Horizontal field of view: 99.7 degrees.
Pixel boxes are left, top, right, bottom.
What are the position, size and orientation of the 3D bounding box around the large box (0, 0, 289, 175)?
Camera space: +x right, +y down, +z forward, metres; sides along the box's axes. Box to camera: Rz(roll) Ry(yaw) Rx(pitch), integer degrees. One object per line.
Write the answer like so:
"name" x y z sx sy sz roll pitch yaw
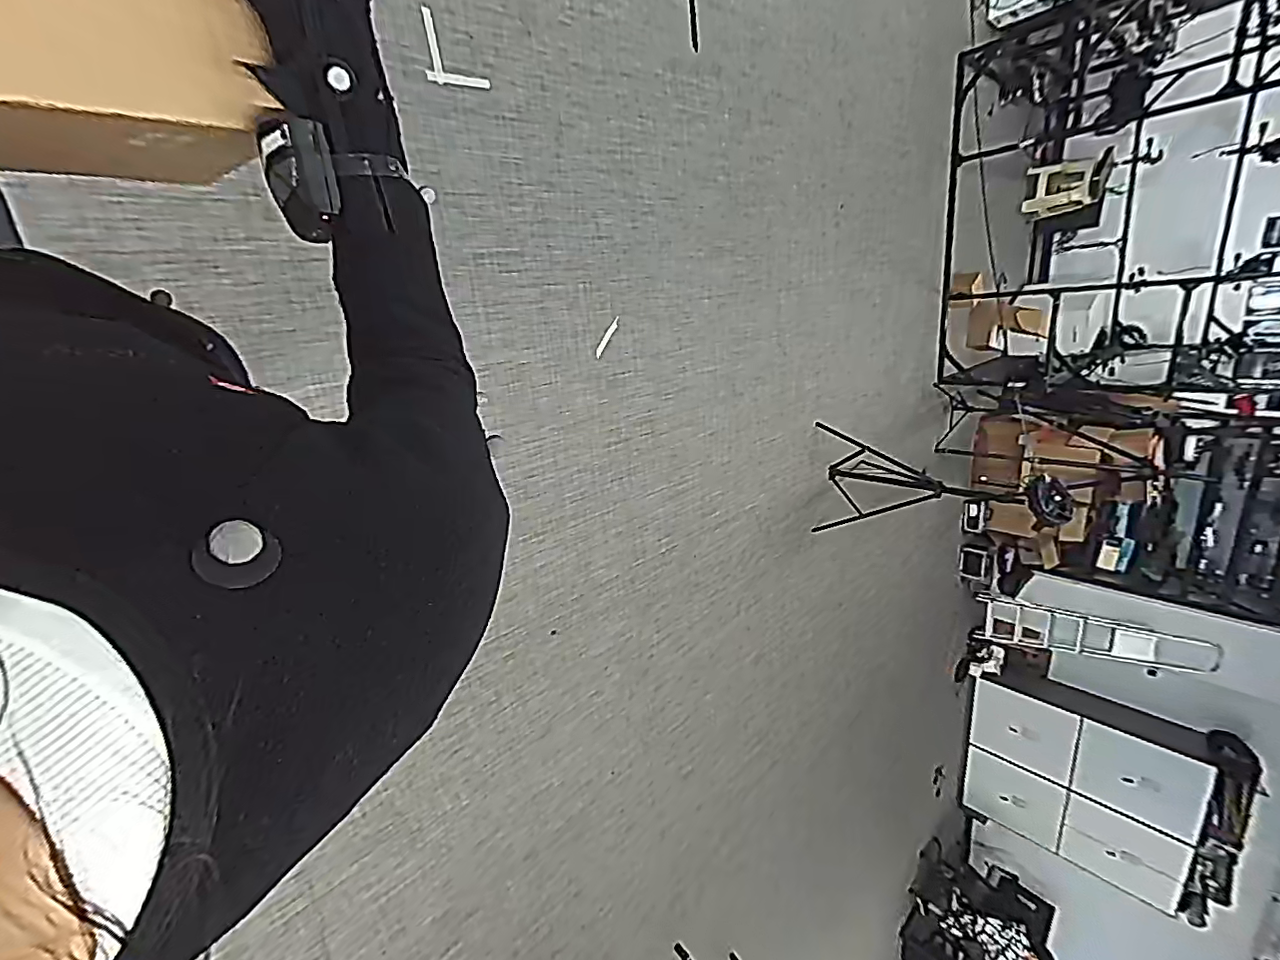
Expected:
"large box" -0.495 -0.365 0.289 0.408 0.320 0.320 -23 122 -42
